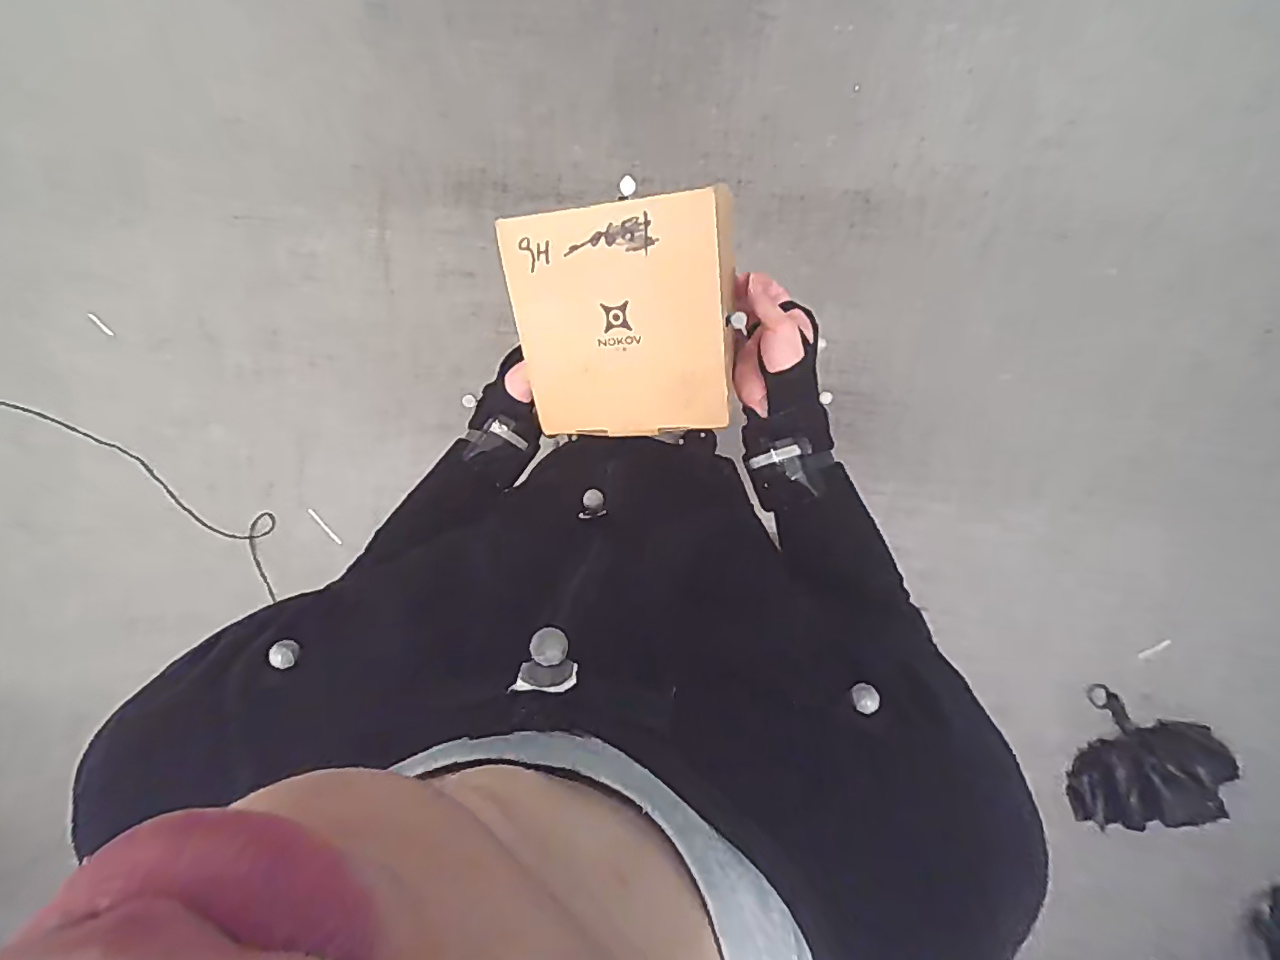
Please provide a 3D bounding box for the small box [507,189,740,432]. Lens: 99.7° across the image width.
[{"bbox_3d":[0.003,-0.159,0.500,0.168,0.176,0.179,-1,119,13],"label":"small box"}]
